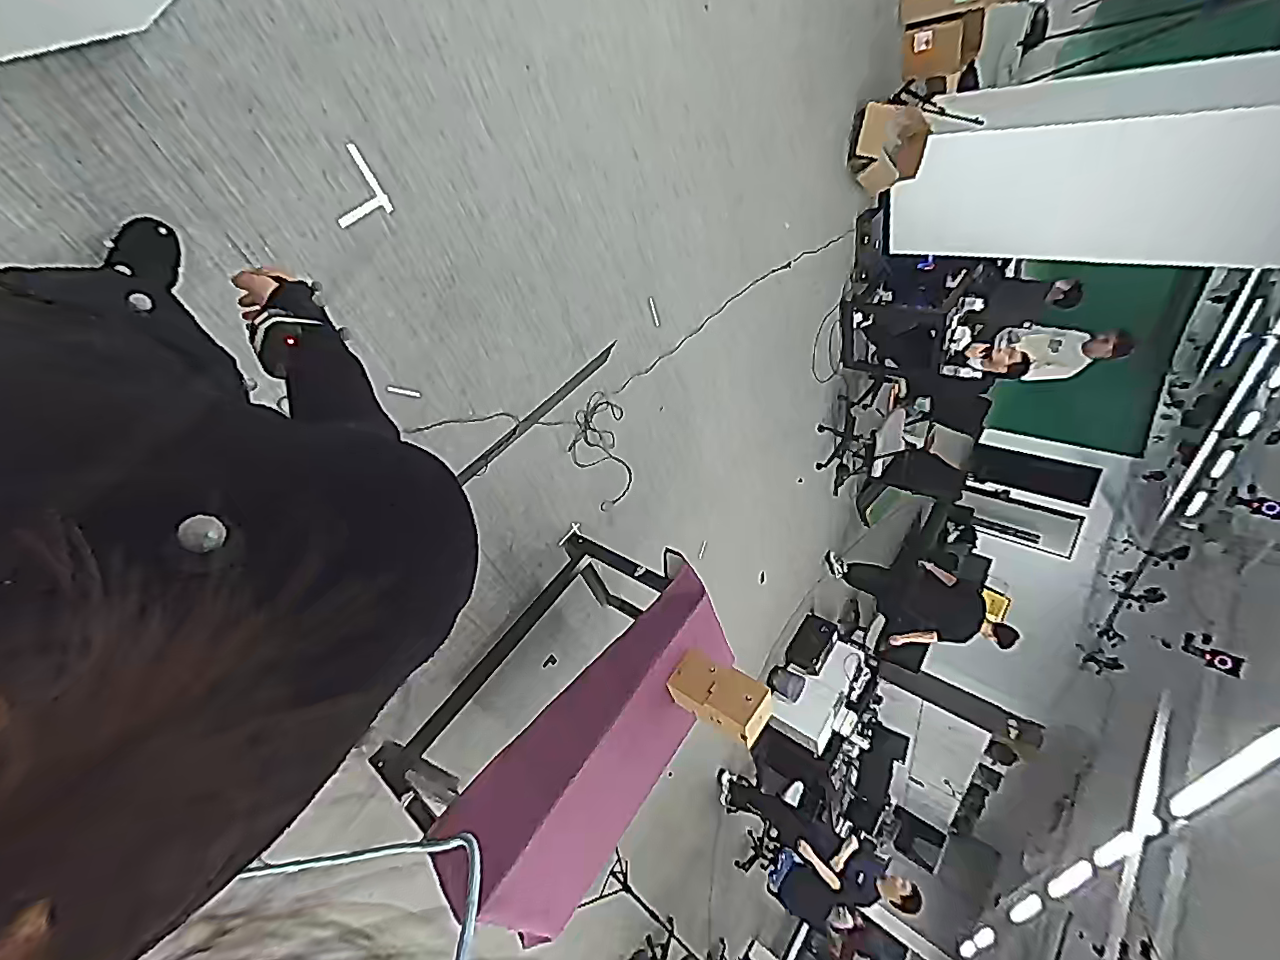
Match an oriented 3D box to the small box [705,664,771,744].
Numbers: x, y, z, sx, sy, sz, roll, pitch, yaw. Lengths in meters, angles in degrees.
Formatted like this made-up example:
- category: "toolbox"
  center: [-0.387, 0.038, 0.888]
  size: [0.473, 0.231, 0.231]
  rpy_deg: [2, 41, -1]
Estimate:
- category: "small box"
  center: [0.356, 0.803, 1.958]
  size: [0.179, 0.176, 0.168]
  rpy_deg: [-42, 135, -31]
